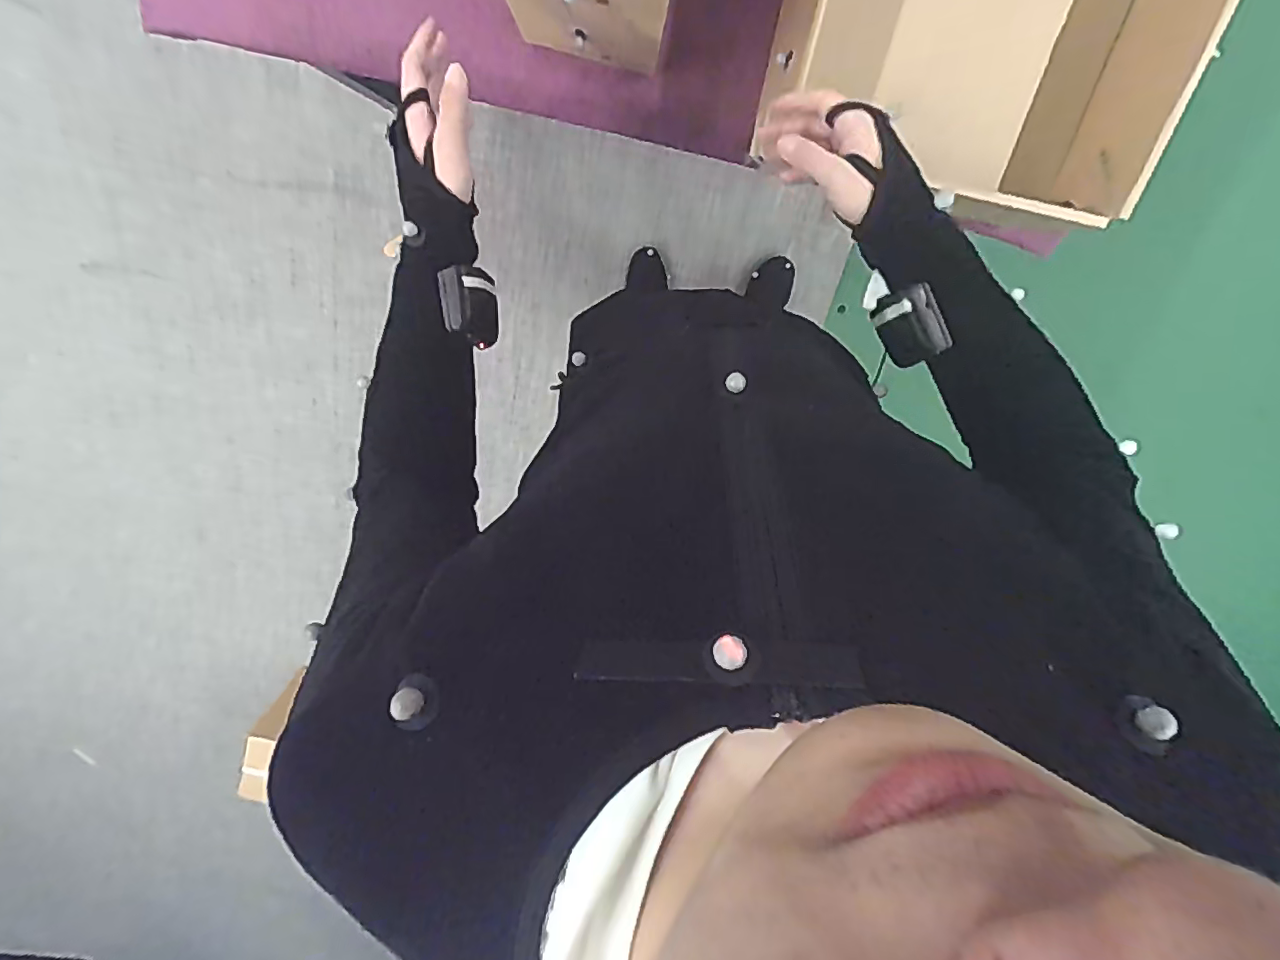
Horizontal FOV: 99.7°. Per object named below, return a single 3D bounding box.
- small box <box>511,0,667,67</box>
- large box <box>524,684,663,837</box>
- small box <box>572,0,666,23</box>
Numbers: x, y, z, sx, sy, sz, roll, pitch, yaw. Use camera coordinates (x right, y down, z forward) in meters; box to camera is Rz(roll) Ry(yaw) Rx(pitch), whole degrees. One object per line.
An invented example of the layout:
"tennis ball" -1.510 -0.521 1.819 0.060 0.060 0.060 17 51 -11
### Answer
"small box" -0.043 -0.575 0.569 0.168 0.176 0.179 11 112 -7
"large box" -0.164 1.024 1.995 0.408 0.320 0.320 -20 114 6
"small box" -0.036 -0.510 0.418 0.168 0.176 0.179 11 112 -6
